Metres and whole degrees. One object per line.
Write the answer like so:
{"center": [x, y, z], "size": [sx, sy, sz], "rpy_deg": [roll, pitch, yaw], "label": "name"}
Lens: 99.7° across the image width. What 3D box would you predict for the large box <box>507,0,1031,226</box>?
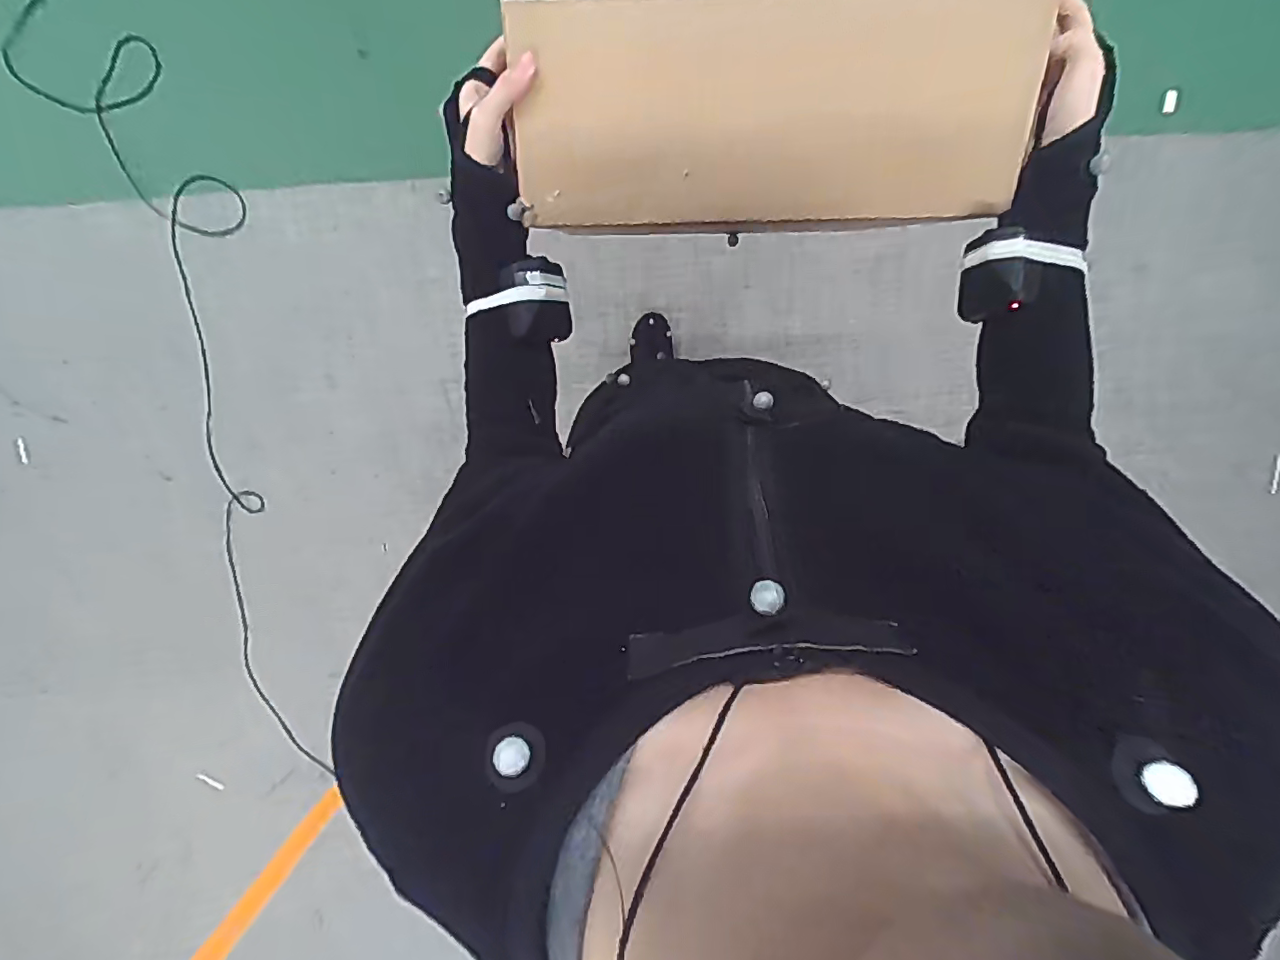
{"center": [0.100, -0.431, 0.538], "size": [0.408, 0.320, 0.320], "rpy_deg": [-1, 113, 1], "label": "large box"}
